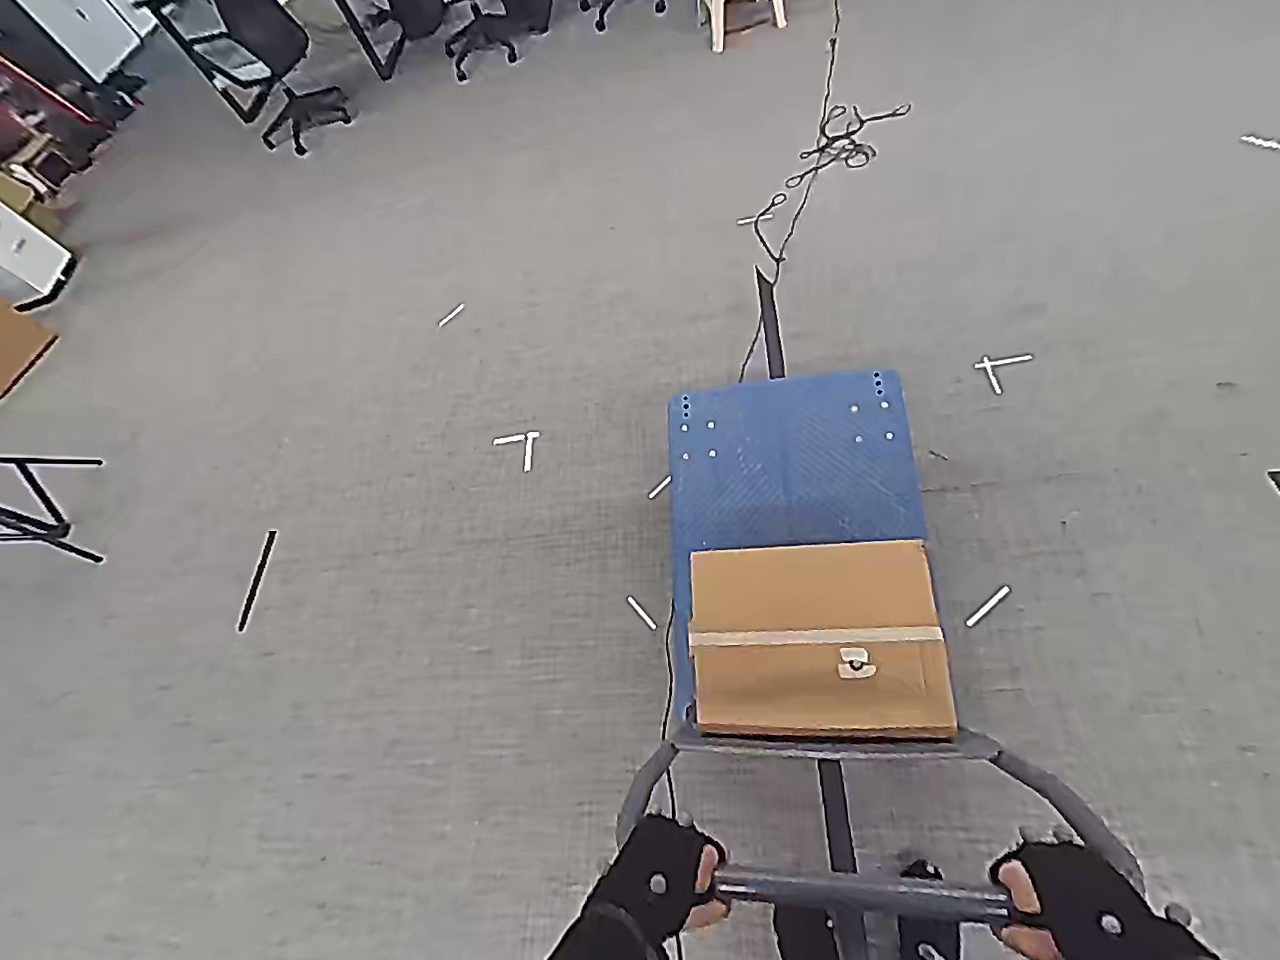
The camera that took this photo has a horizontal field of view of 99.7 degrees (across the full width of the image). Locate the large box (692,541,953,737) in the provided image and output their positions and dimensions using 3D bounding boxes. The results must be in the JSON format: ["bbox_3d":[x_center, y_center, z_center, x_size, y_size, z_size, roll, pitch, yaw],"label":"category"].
[{"bbox_3d":[0.329,0.319,1.073,0.408,0.320,0.320,-6,71,12],"label":"large box"}]
